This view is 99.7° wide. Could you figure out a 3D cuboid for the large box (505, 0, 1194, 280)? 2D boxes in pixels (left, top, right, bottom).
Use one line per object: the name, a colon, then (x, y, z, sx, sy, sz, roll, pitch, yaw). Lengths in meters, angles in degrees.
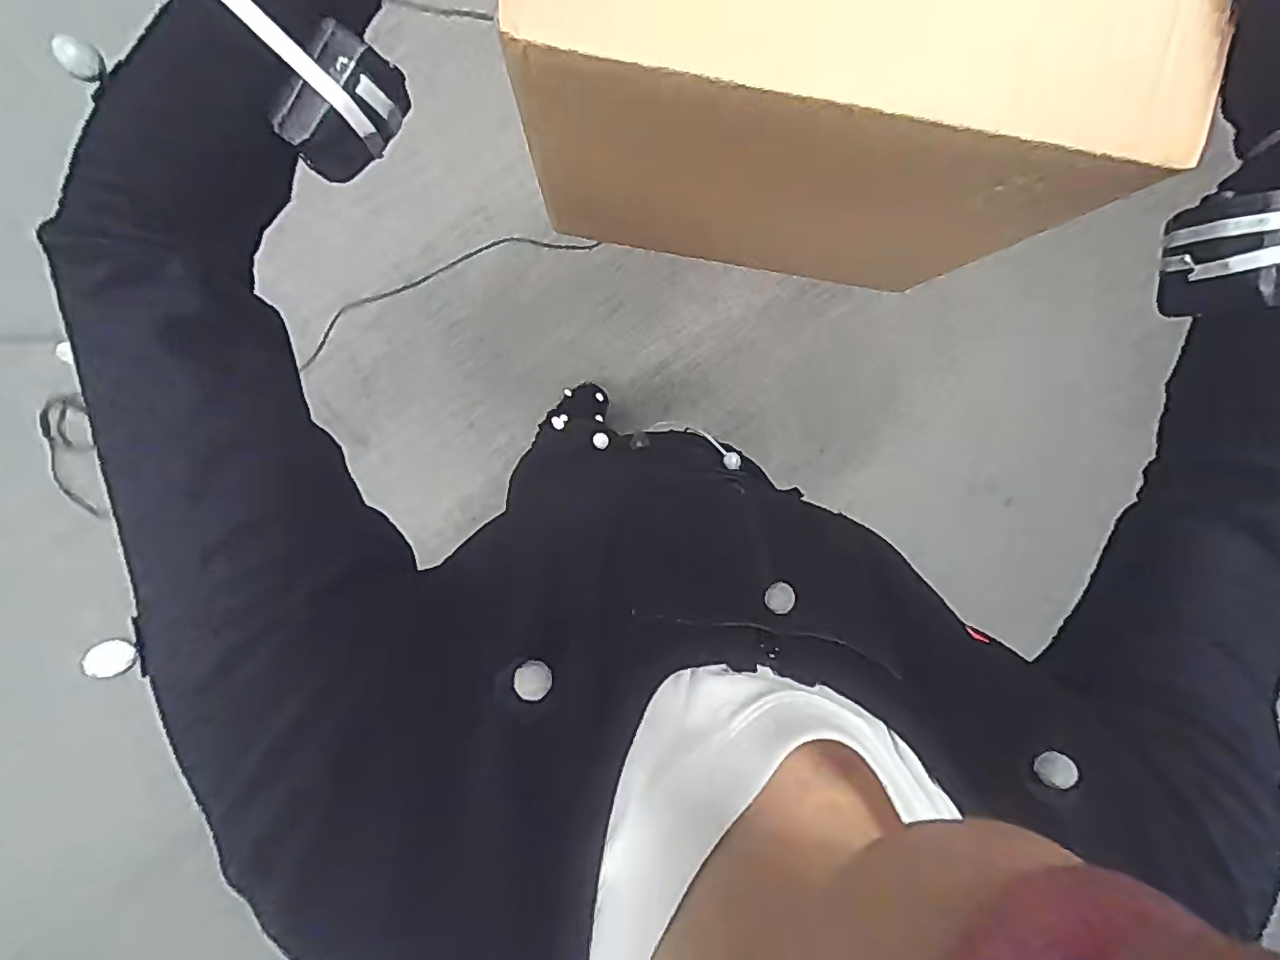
large box: (0.124, -0.384, 0.445, 0.408, 0.320, 0.320, 7, 96, -5)
